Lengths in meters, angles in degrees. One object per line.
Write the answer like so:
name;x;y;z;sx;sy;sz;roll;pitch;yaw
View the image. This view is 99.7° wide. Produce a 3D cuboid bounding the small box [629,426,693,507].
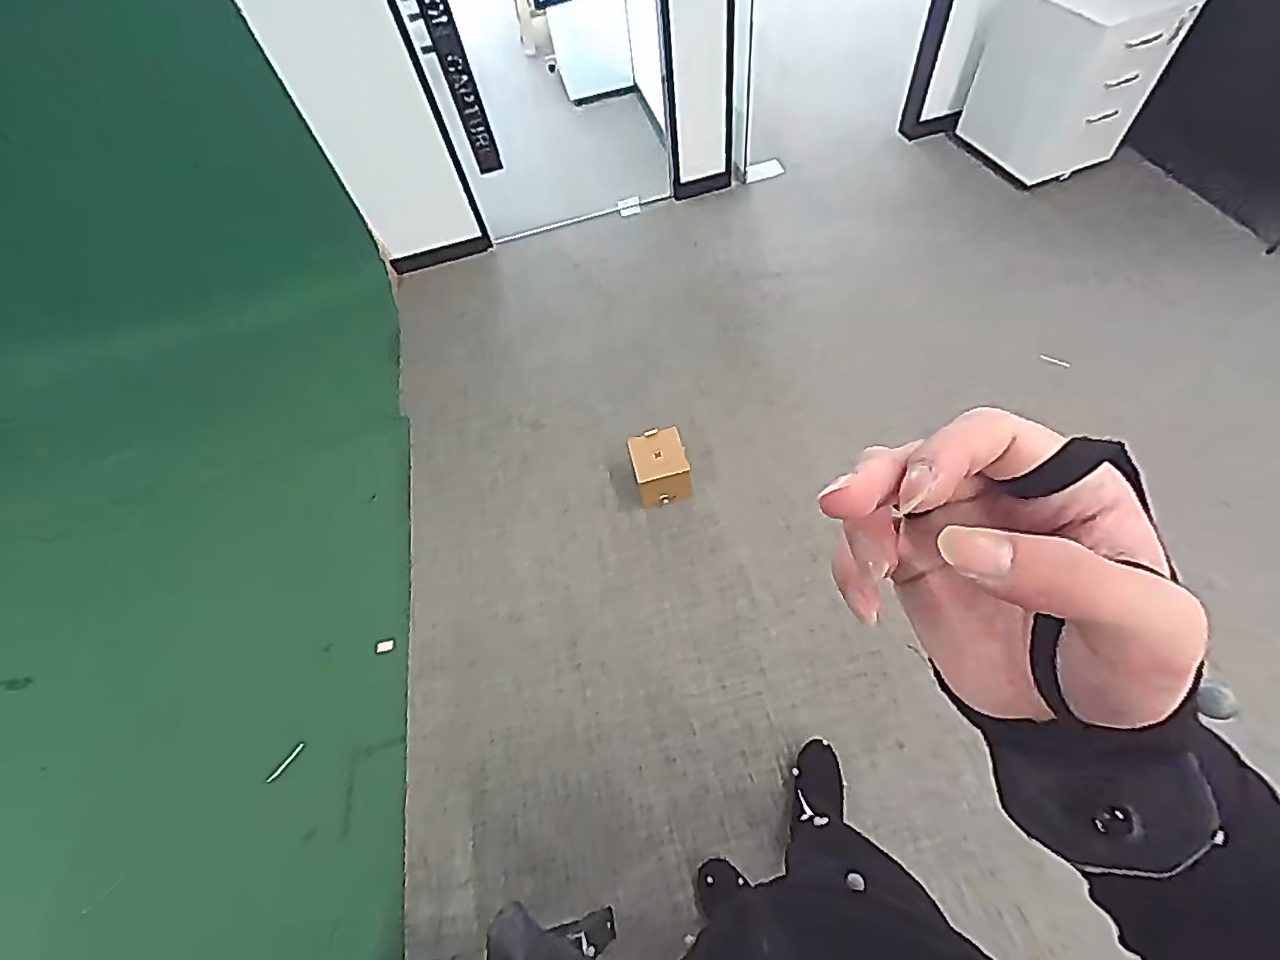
small box;0.070;-0.040;1.729;0.168;0.176;0.179;-14;57;2
